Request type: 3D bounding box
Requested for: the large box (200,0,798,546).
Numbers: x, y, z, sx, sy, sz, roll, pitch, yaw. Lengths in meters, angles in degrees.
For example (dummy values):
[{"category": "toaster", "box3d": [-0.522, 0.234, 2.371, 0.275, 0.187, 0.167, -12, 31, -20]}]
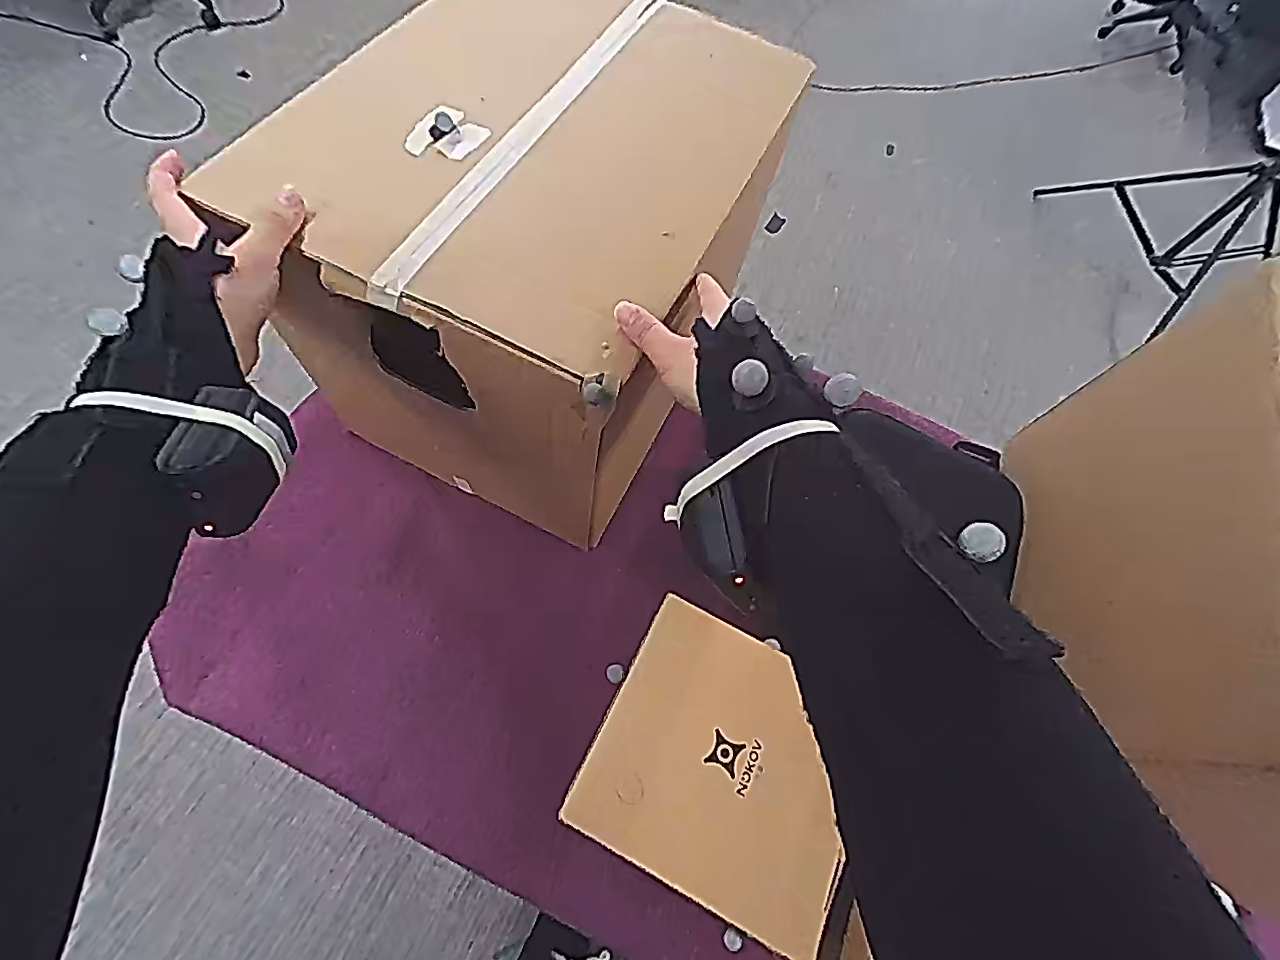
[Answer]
[{"category": "large box", "box3d": [-0.088, -0.205, 0.553, 0.320, 0.320, 0.408, 24, 66, 5]}]
